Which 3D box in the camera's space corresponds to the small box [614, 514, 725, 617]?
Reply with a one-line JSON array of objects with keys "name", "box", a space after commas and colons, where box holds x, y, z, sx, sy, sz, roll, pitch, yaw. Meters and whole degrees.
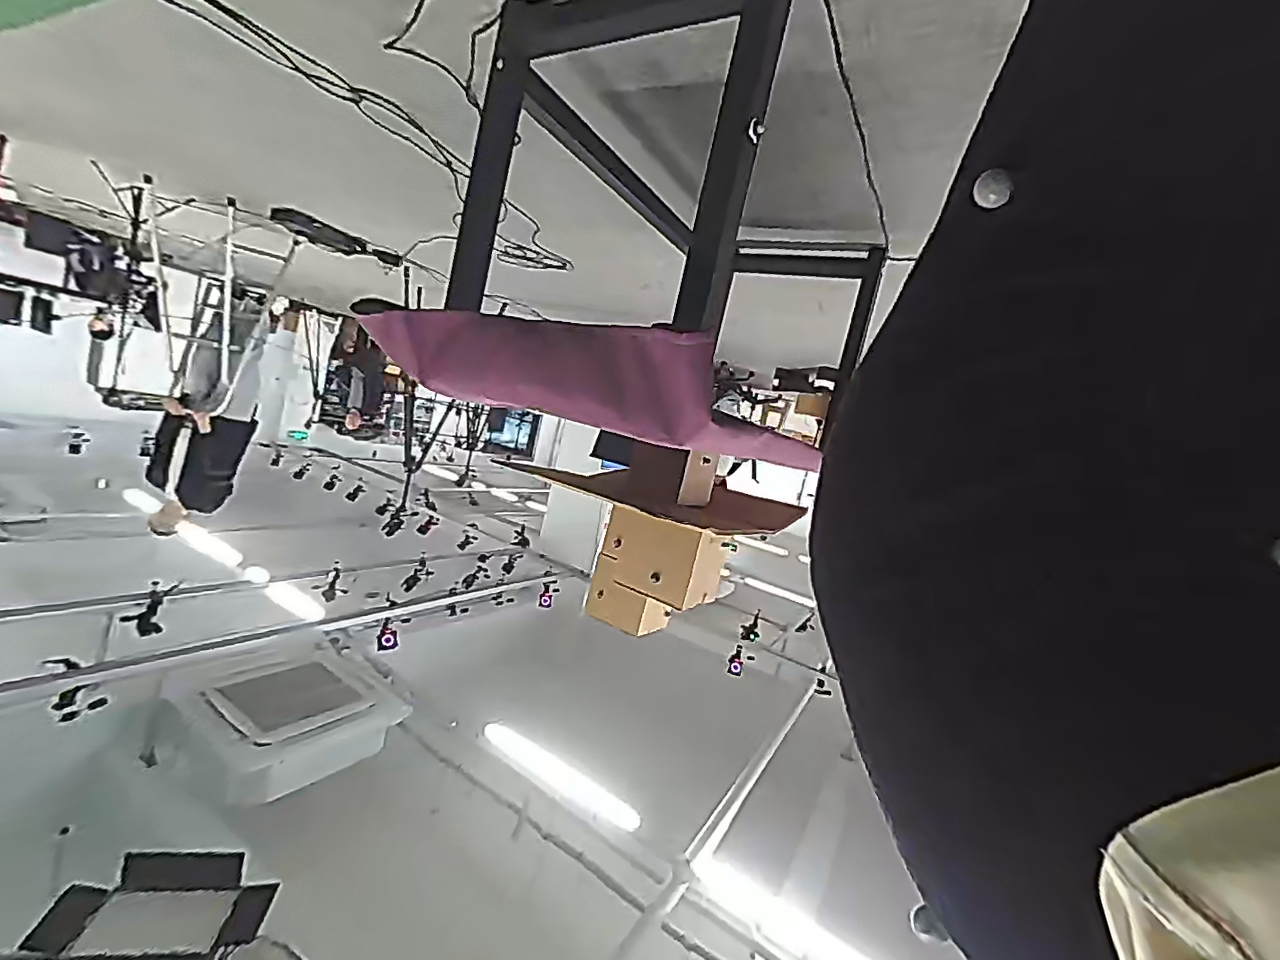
[{"name": "small box", "box": [0.072, 0.177, 1.172, 0.179, 0.176, 0.168, 17, -177, 31]}]

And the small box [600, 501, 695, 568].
[{"name": "small box", "box": [0.024, 0.154, 1.440, 0.179, 0.176, 0.168, 15, -178, 30]}]
